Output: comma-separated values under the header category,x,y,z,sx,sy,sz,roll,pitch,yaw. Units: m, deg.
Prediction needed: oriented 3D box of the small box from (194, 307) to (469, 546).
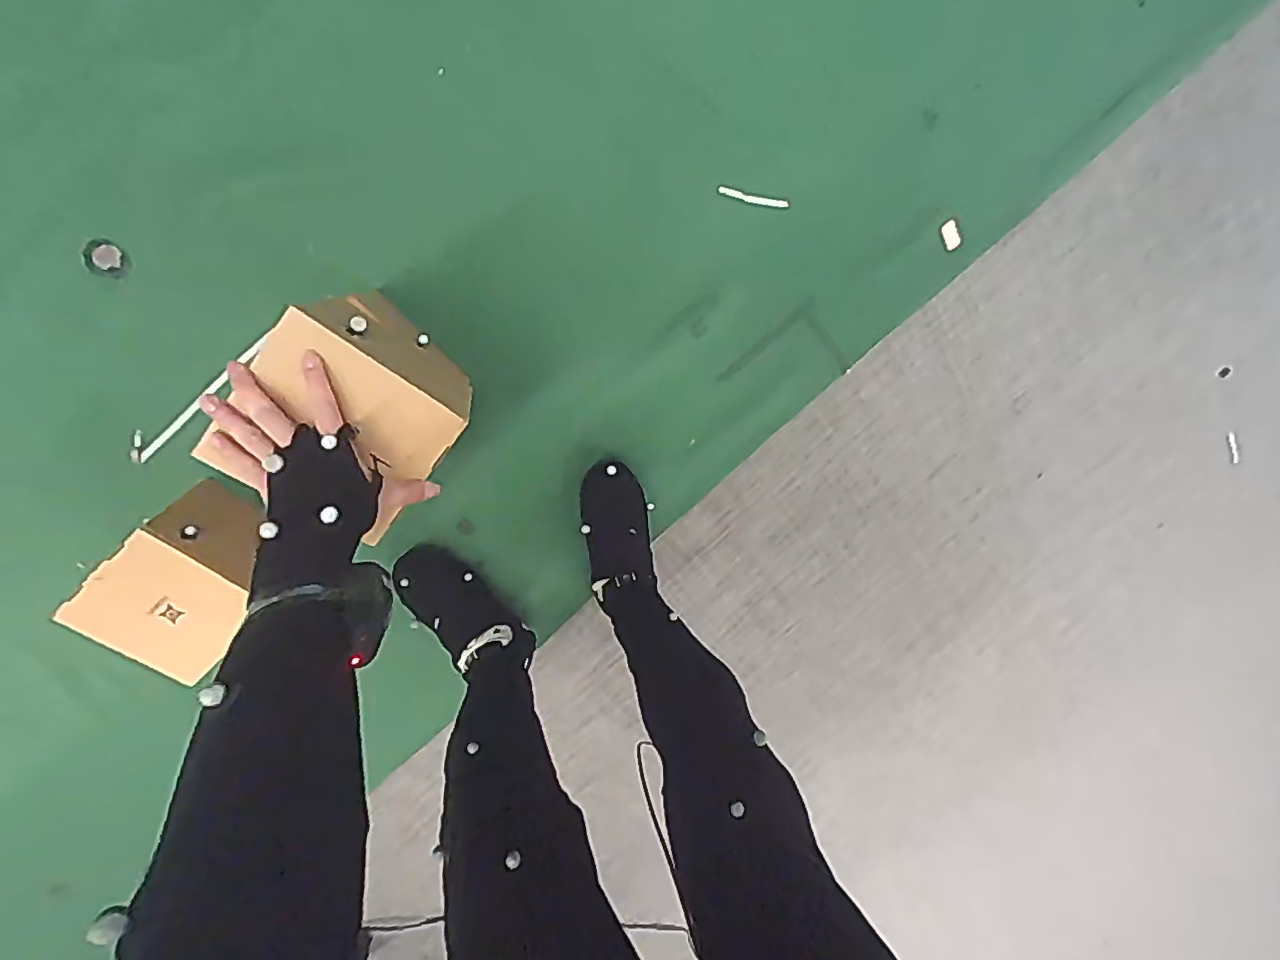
category,x,y,z,sx,sy,sz,roll,pitch,yaw
small box,-0.304,-0.066,0.578,0.179,0.176,0.168,36,99,-24

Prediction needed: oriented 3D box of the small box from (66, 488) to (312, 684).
category,x,y,z,sx,sy,sz,roll,pitch,yaw
small box,-0.610,0.140,0.763,0.168,0.176,0.179,-43,114,5
